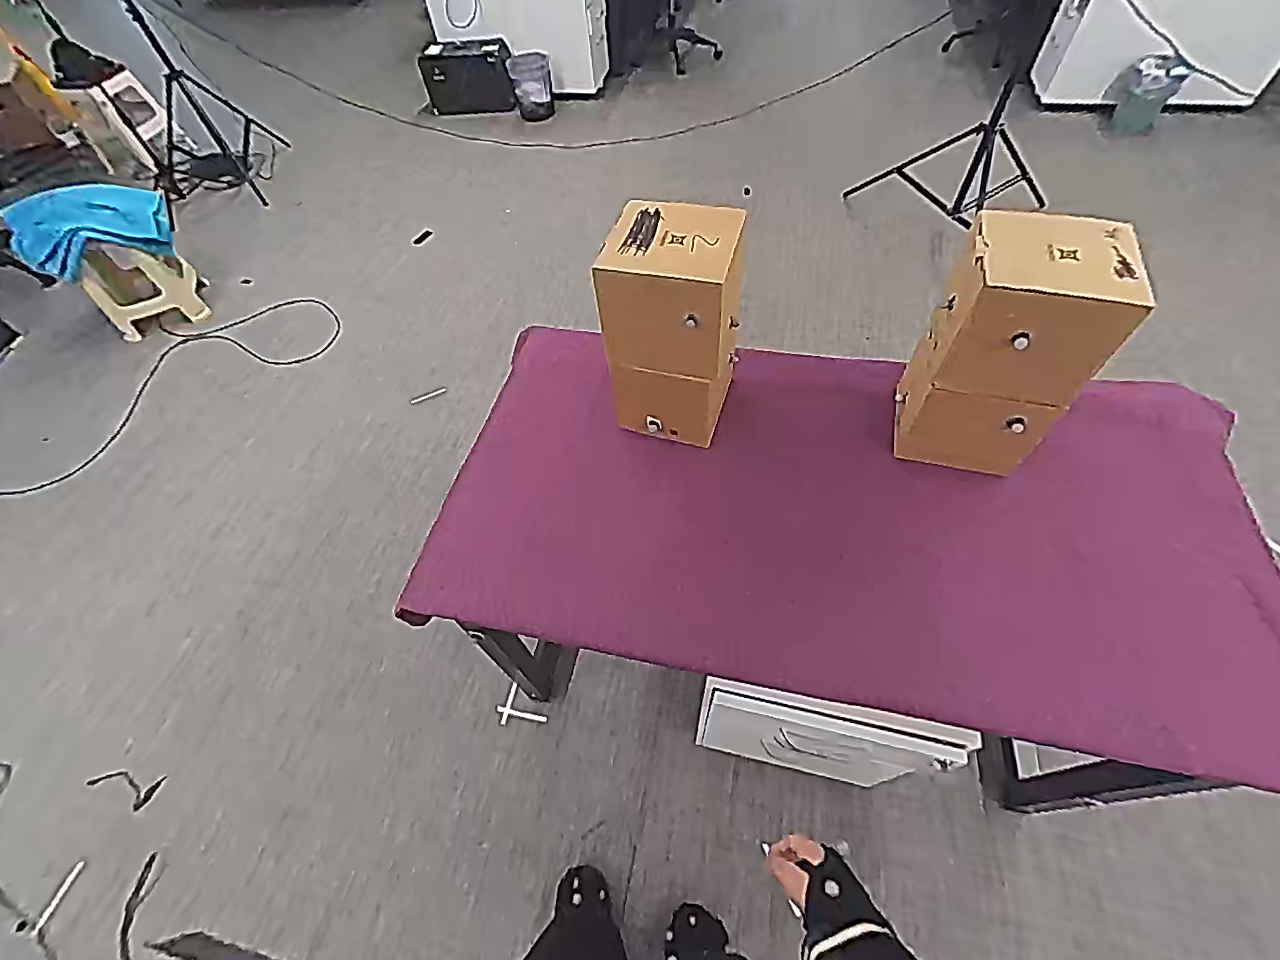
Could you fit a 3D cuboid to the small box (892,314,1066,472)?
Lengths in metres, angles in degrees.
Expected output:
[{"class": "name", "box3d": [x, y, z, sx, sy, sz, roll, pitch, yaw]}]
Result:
[{"class": "small box", "box3d": [0.518, -0.132, 0.850, 0.179, 0.176, 0.168, 11, 57, 12]}]

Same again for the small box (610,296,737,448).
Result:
[{"class": "small box", "box3d": [0.062, -0.182, 0.923, 0.168, 0.176, 0.179, 13, 59, 14]}]

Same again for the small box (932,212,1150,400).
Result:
[{"class": "small box", "box3d": [0.506, -0.226, 0.716, 0.179, 0.176, 0.168, 12, 58, 14]}]
